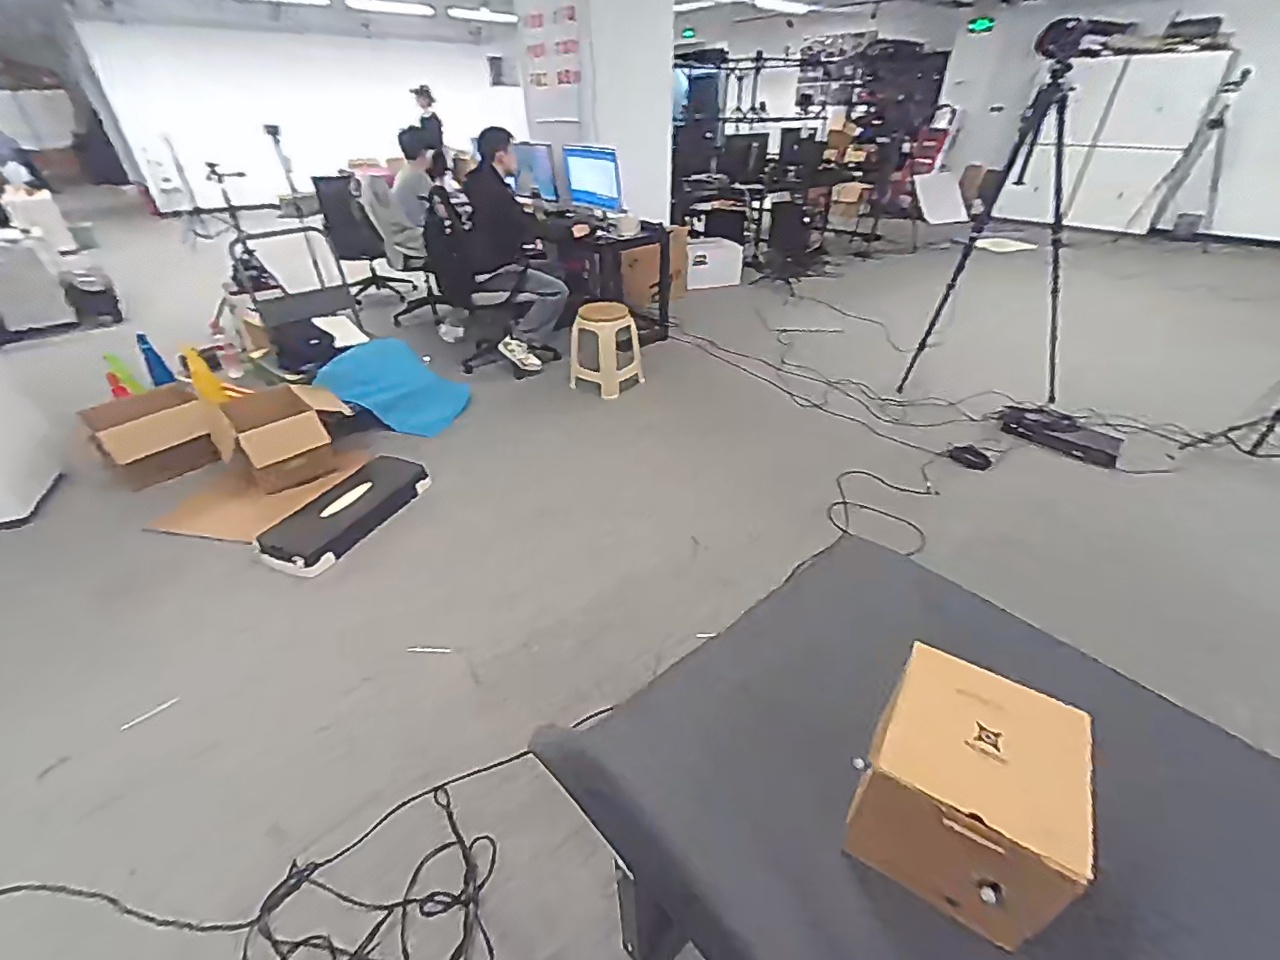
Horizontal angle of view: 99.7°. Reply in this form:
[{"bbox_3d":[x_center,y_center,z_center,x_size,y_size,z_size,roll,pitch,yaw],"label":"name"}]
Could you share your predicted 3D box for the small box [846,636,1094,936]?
[{"bbox_3d":[0.326,0.305,0.553,0.168,0.176,0.179,21,39,26],"label":"small box"}]
